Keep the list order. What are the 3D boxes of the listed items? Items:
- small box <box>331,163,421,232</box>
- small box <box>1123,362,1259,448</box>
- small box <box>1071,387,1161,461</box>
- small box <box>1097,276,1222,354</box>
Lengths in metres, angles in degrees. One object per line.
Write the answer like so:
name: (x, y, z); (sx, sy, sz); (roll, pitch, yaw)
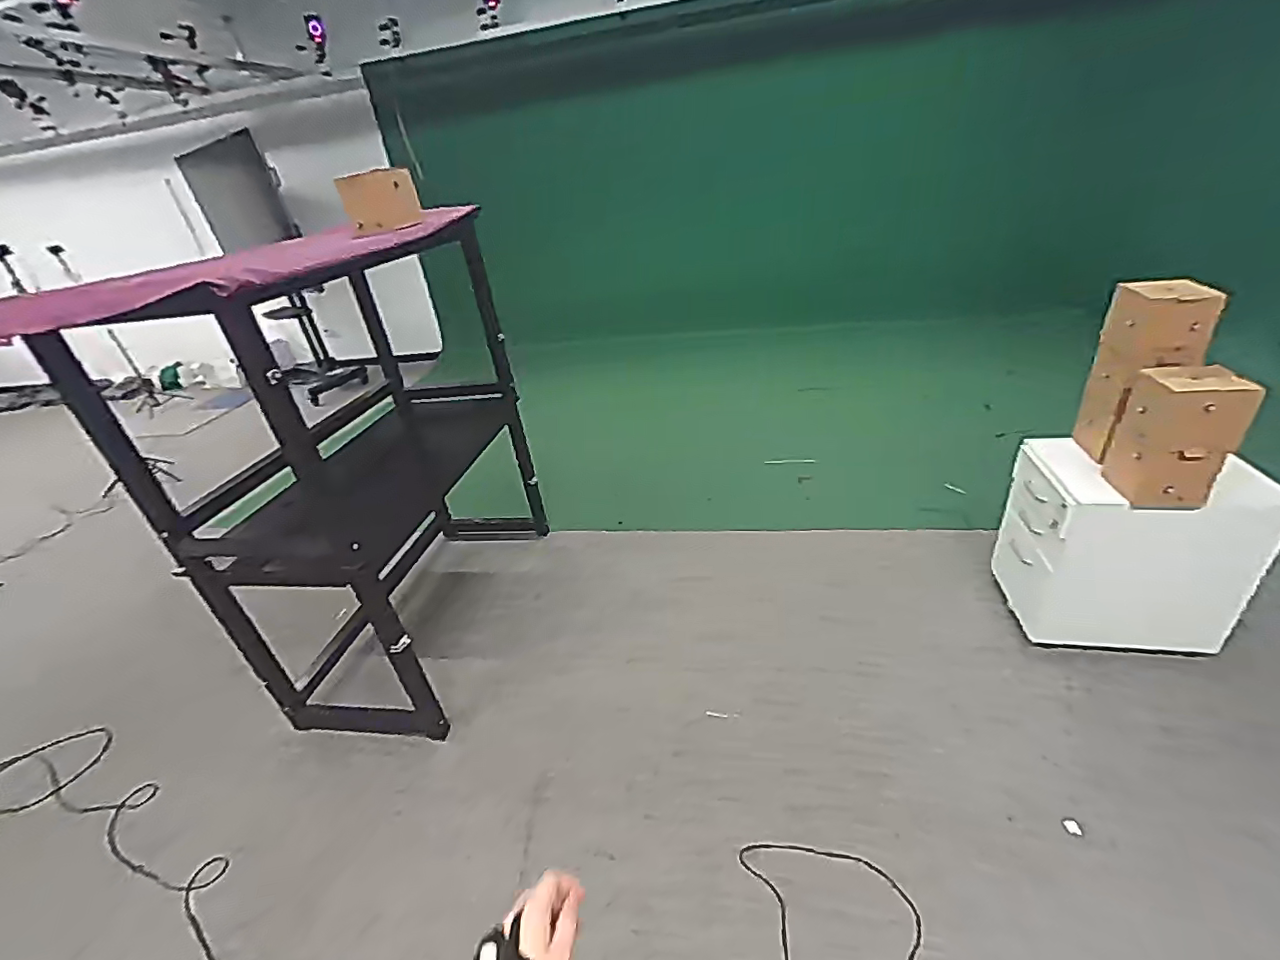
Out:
small box: (-0.841, -0.908, 1.744); (0.168, 0.176, 0.179); (-3, 31, 14)
small box: (1.391, -0.191, 1.387); (0.179, 0.176, 0.168); (1, 32, 14)
small box: (1.472, -0.174, 1.661); (0.168, 0.176, 0.179); (-1, 33, 13)
small box: (1.423, -0.453, 1.495); (0.168, 0.176, 0.179); (1, 32, 13)
